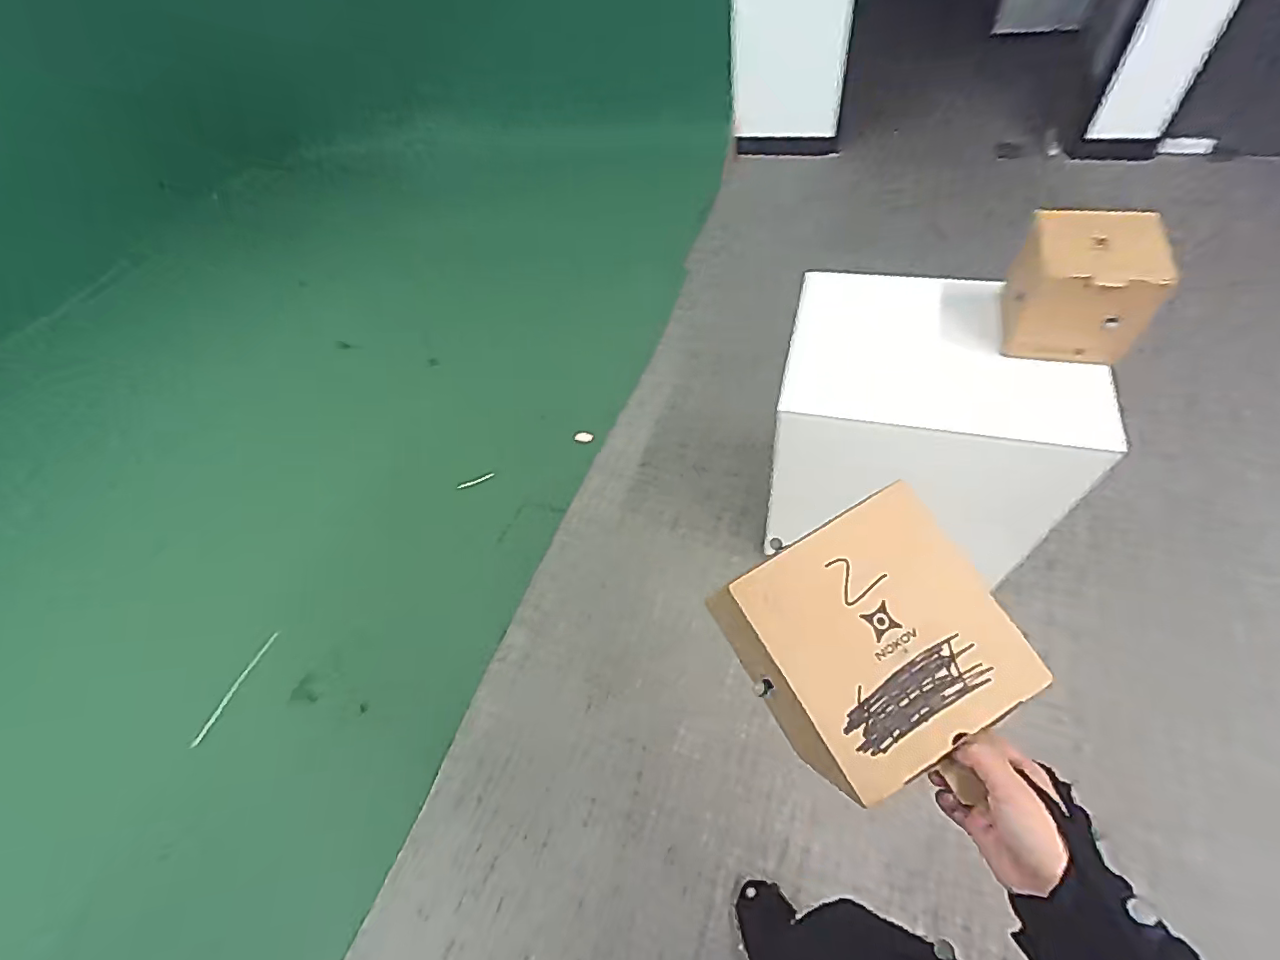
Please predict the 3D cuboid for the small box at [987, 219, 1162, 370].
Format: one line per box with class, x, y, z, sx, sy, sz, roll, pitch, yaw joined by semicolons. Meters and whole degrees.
small box;0.701;-0.305;0.898;0.168;0.176;0.179;10;57;15
